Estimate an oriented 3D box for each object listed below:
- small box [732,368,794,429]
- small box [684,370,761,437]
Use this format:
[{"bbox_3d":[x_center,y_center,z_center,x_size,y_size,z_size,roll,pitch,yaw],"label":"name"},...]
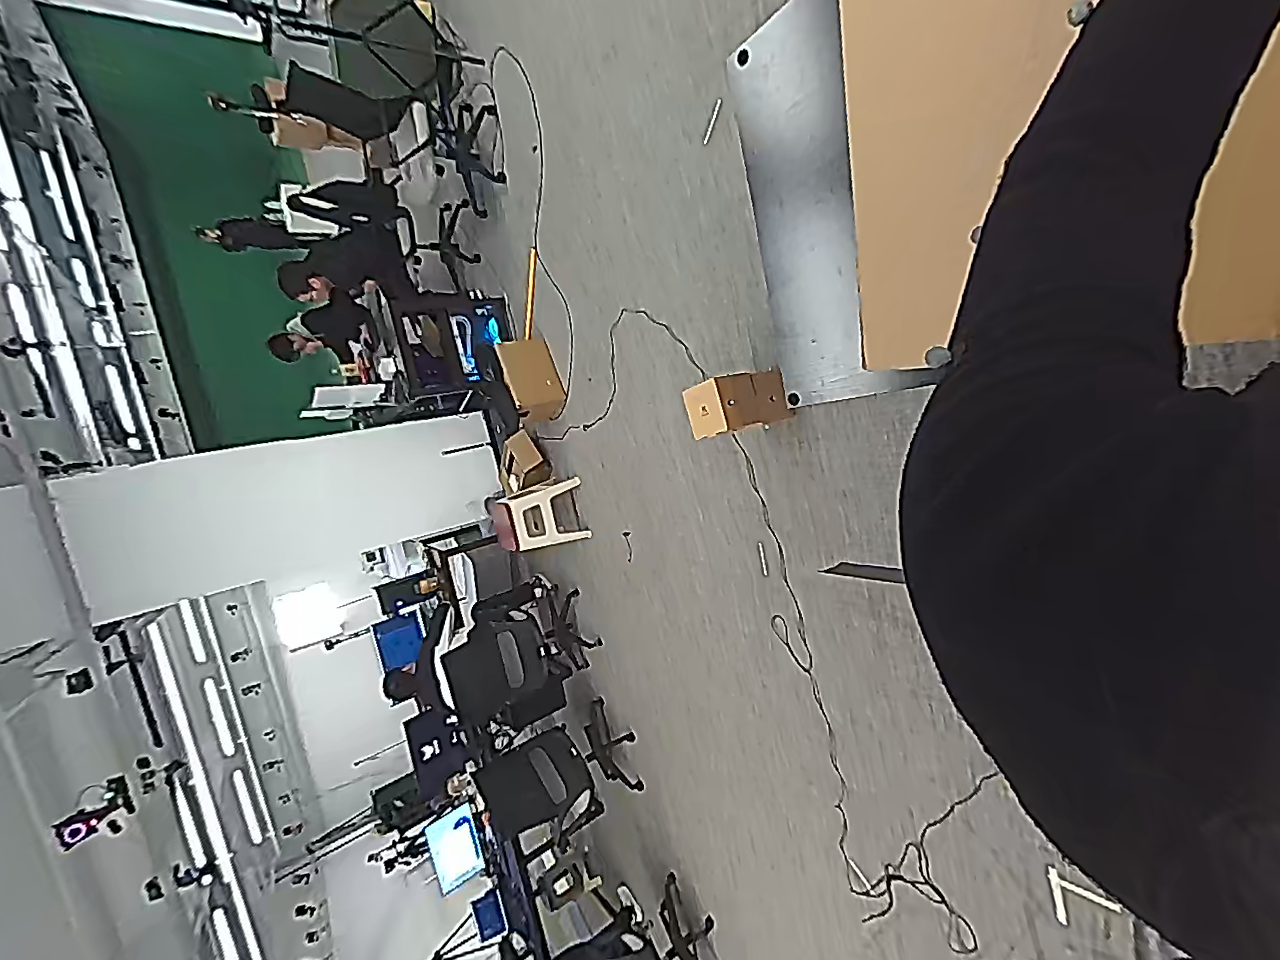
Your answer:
[{"bbox_3d":[0.411,-0.287,1.892,0.168,0.176,0.179,-9,96,57],"label":"small box"},{"bbox_3d":[0.279,-0.256,1.803,0.168,0.176,0.179,-15,89,56],"label":"small box"}]
